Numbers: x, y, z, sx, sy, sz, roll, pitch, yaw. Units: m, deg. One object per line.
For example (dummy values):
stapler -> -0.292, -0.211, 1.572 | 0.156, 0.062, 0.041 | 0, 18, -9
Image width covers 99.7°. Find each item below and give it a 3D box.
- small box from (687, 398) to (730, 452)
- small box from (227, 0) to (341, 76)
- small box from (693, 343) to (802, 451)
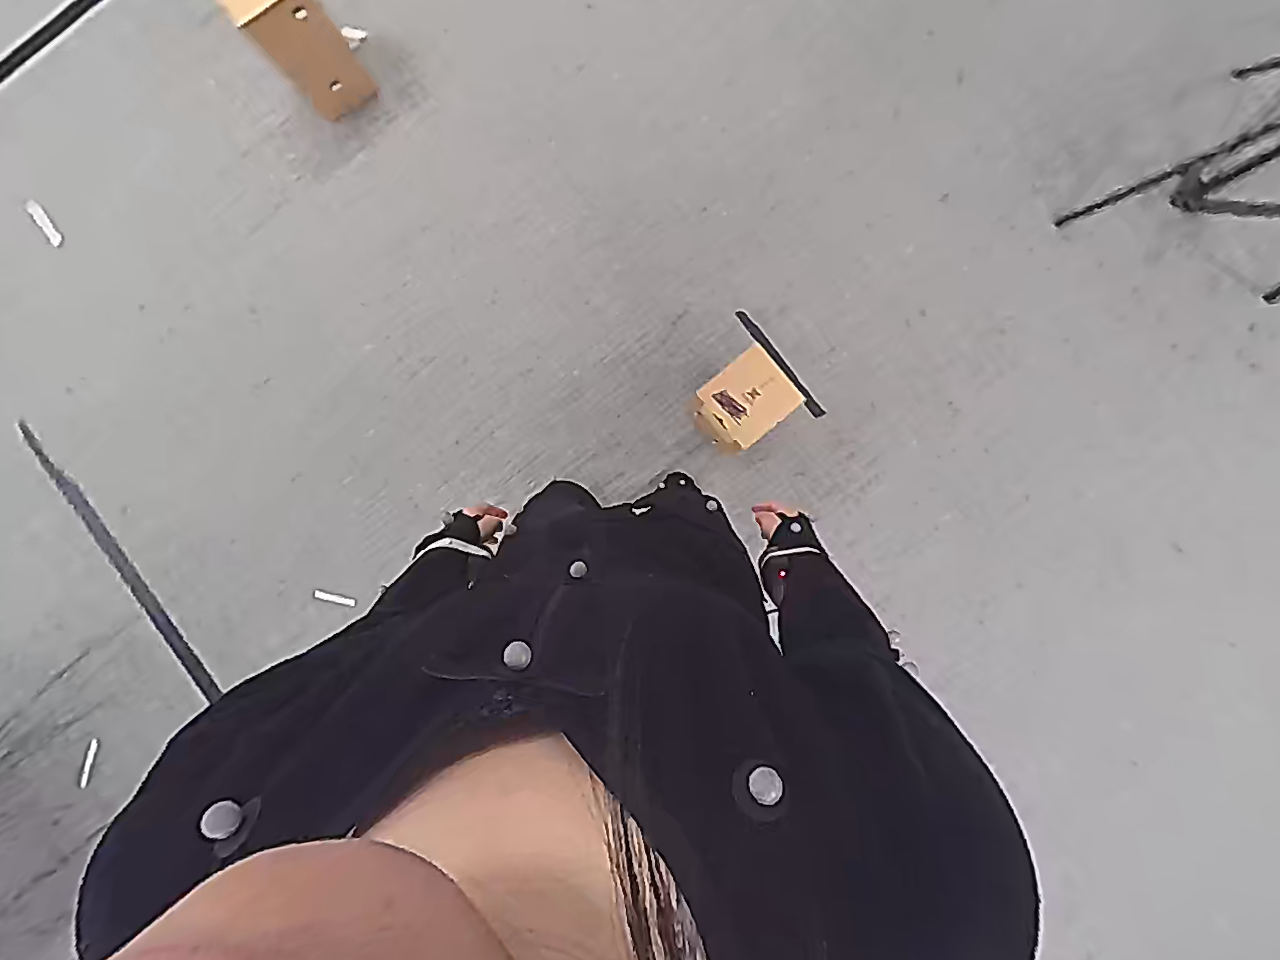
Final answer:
small box -> 0.237, -0.185, 1.406 | 0.179, 0.176, 0.168 | -41, 90, 0
small box -> -0.838, -1.110, 1.263 | 0.179, 0.176, 0.168 | -32, 89, 3
small box -> 0.235, -0.179, 1.241 | 0.179, 0.176, 0.168 | -39, 90, 1
